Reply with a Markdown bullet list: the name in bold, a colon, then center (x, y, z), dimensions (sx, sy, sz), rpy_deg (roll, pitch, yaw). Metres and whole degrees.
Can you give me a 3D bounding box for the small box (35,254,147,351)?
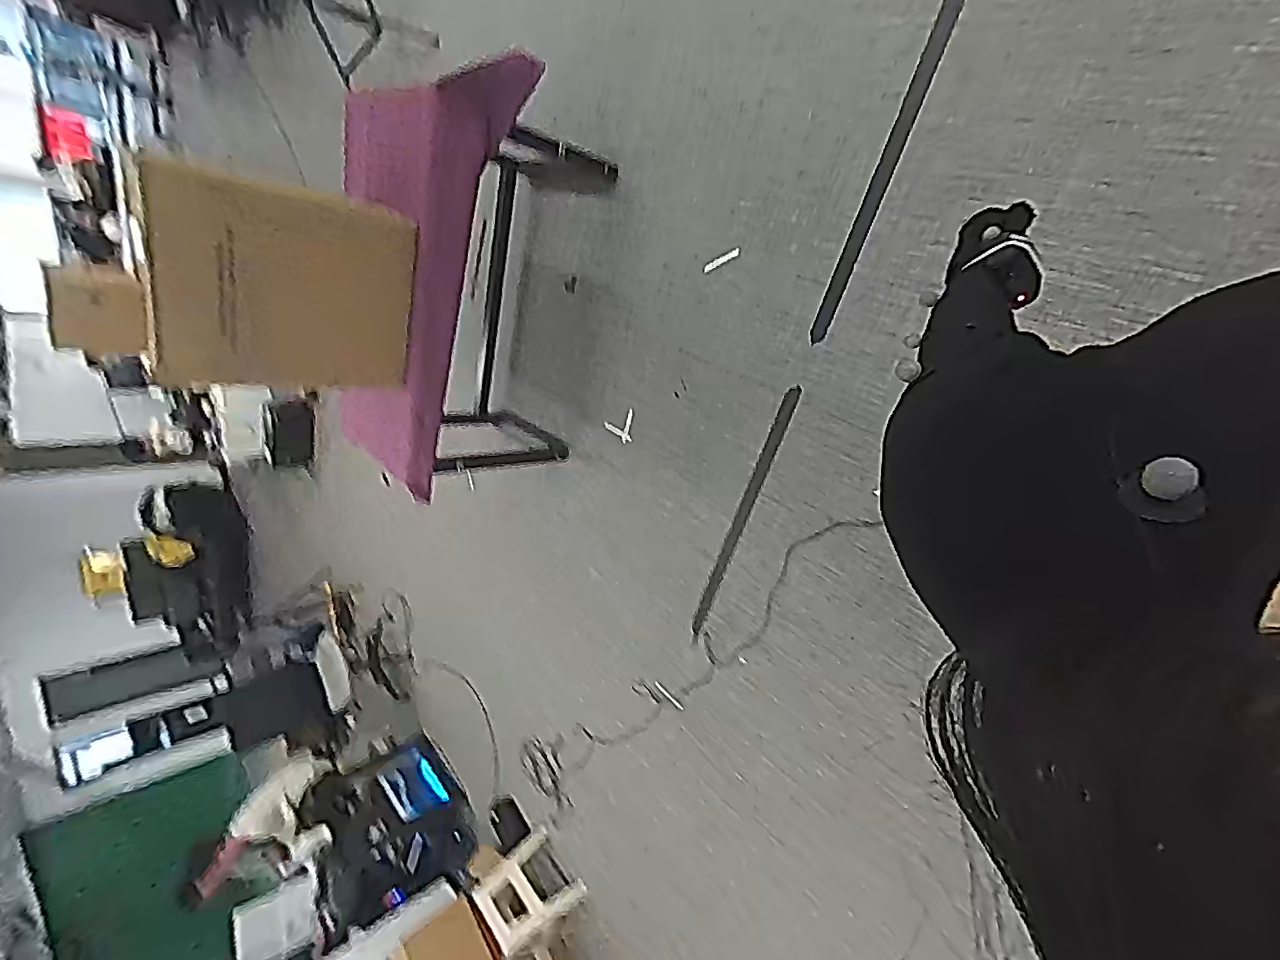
- **small box**: center (-1.324, -0.424, 1.308), dimensions (0.168, 0.176, 0.179), rpy_deg (34, 118, 35)
